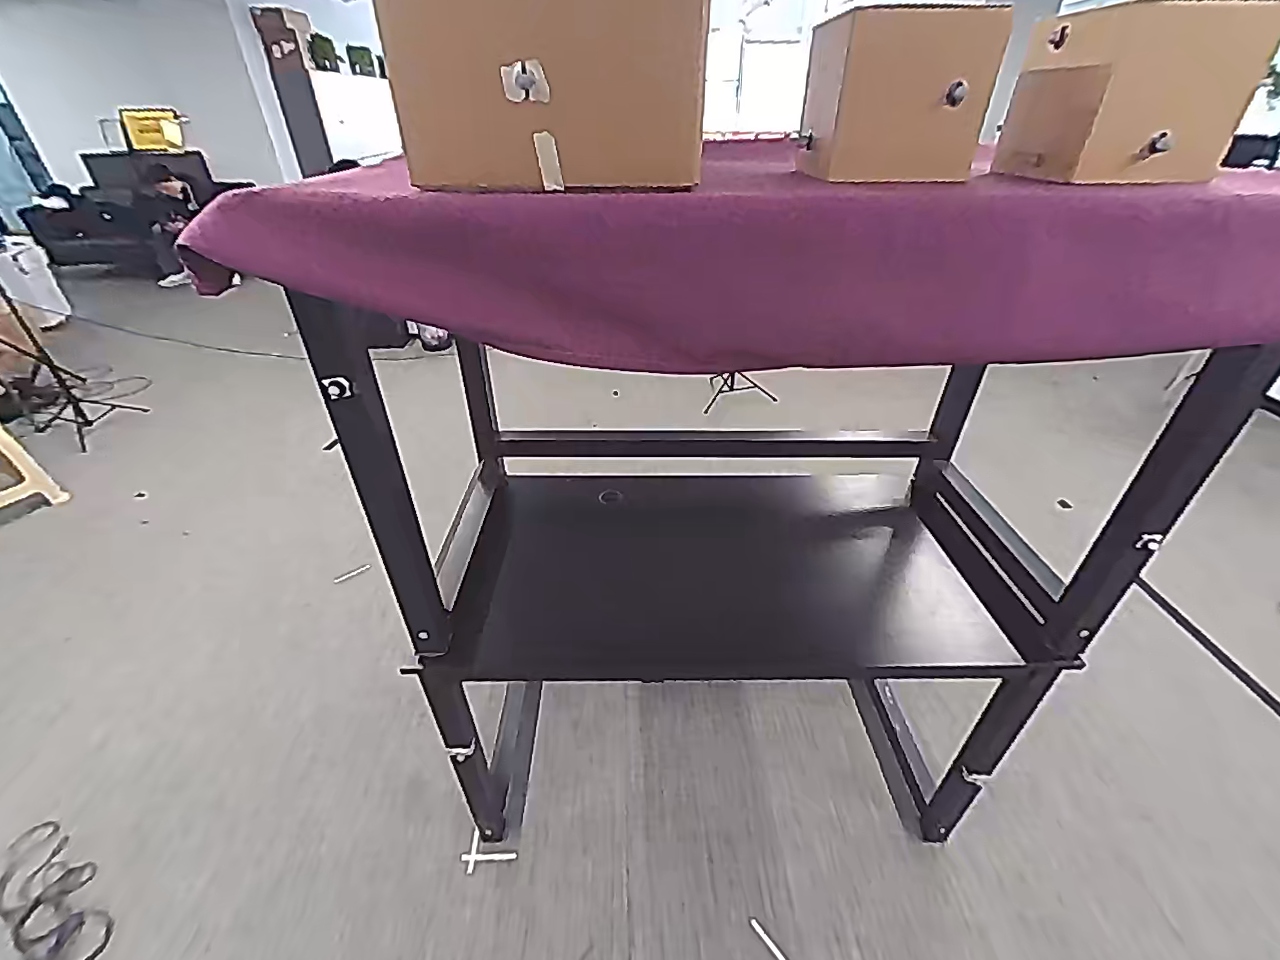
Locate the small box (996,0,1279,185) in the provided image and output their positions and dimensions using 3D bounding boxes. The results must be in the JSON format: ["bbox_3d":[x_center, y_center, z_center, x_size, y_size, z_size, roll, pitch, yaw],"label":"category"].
[{"bbox_3d":[0.581,-0.460,0.651,0.179,0.176,0.168,-1,33,-2],"label":"small box"}]

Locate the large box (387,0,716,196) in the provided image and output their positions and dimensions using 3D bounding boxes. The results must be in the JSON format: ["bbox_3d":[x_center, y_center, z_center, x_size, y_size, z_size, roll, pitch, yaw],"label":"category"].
[{"bbox_3d":[-0.089,-0.539,0.655,0.320,0.320,0.408,0,33,-1],"label":"large box"}]

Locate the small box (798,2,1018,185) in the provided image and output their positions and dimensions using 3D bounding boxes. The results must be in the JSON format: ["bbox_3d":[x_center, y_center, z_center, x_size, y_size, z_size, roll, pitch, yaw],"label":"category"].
[{"bbox_3d":[0.315,-0.476,0.680,0.179,0.176,0.168,-1,33,0],"label":"small box"}]
